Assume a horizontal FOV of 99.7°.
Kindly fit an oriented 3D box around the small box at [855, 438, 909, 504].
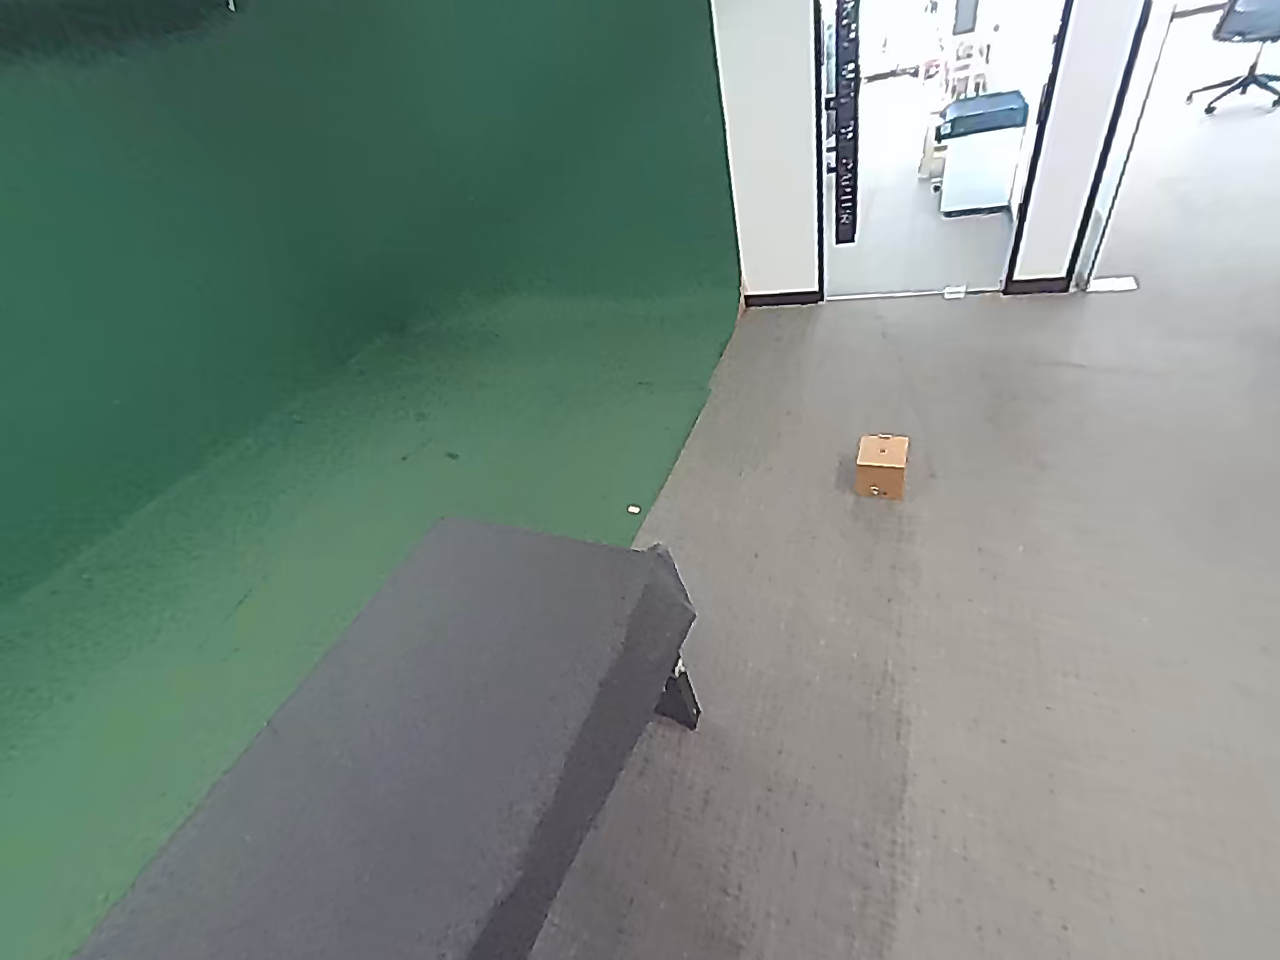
[{"bbox_3d":[0.915,-0.036,2.045,0.168,0.176,0.179,6,45,29],"label":"small box"}]
